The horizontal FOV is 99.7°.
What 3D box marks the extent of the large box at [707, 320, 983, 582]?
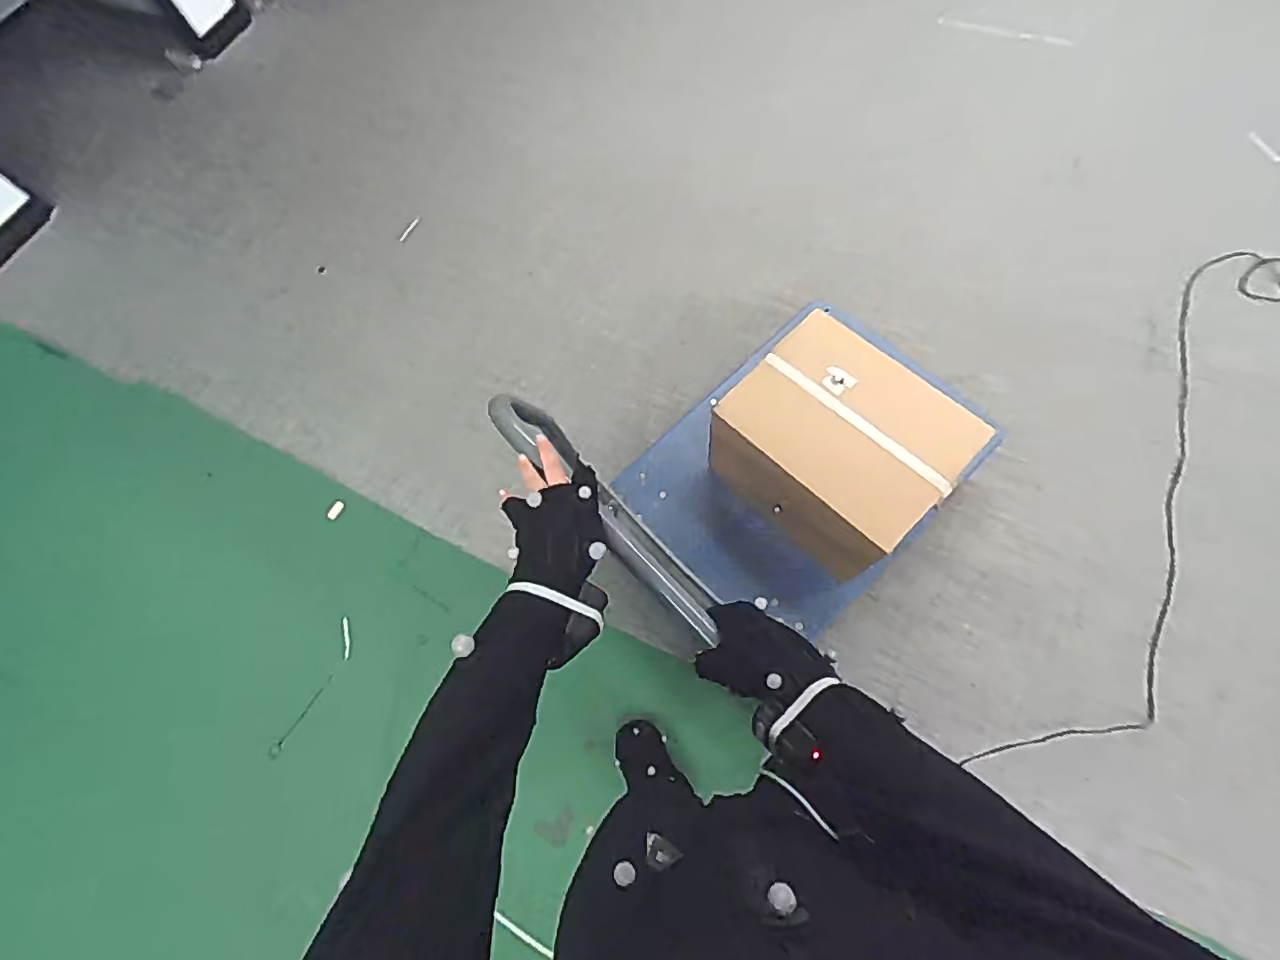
[{"bbox_3d":[0.394,-0.048,1.144,0.320,0.320,0.408,-44,70,-11],"label":"large box"}]
